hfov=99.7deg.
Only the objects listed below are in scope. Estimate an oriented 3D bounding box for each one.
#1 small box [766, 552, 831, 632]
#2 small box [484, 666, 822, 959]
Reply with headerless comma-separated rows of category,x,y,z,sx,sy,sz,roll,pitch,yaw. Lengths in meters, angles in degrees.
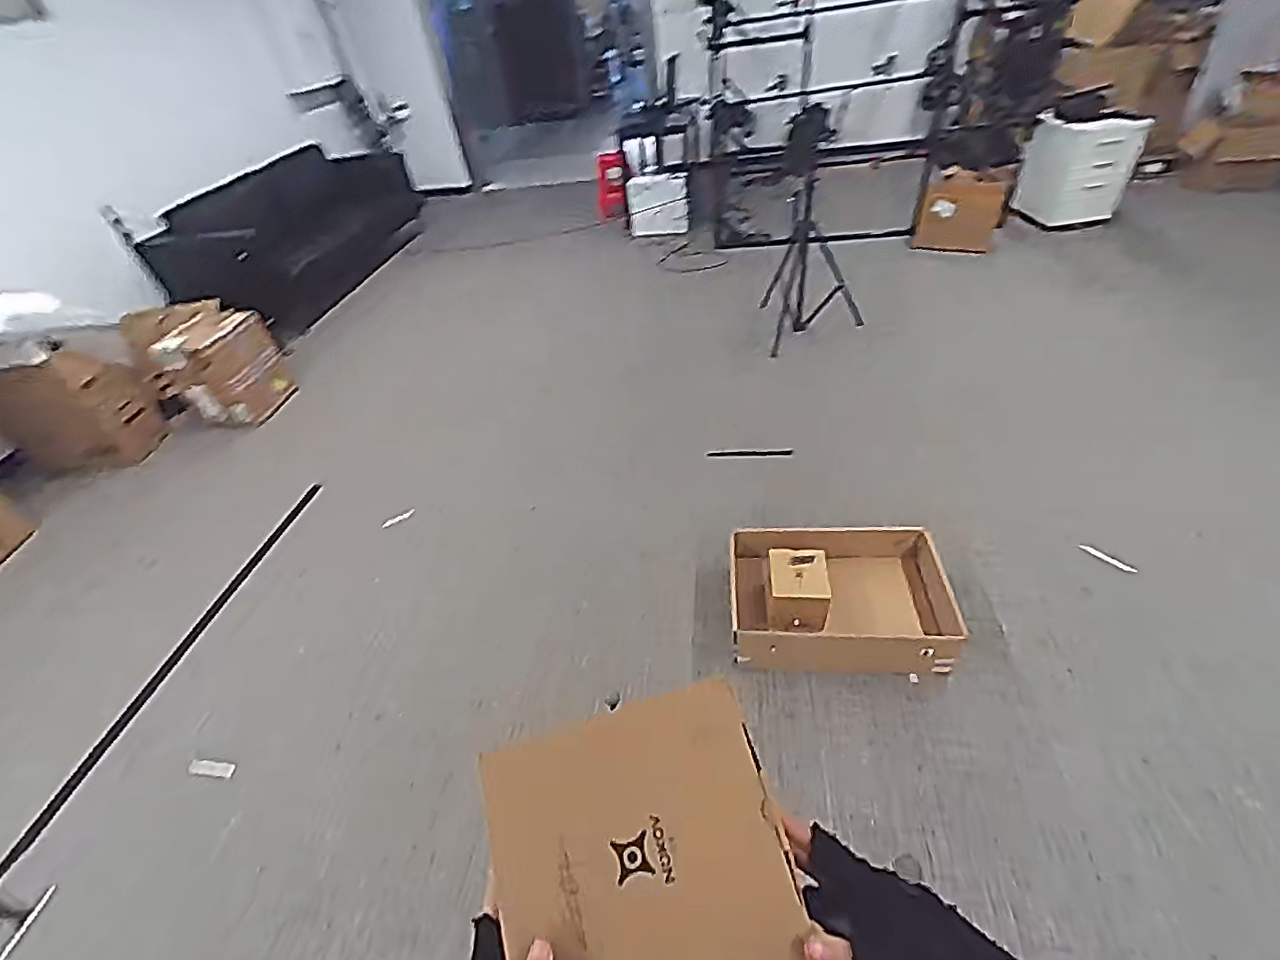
small box,0.478,0.343,1.657,0.168,0.176,0.179,-1,43,8
small box,0.004,0.249,0.405,0.179,0.176,0.168,-16,67,-4
